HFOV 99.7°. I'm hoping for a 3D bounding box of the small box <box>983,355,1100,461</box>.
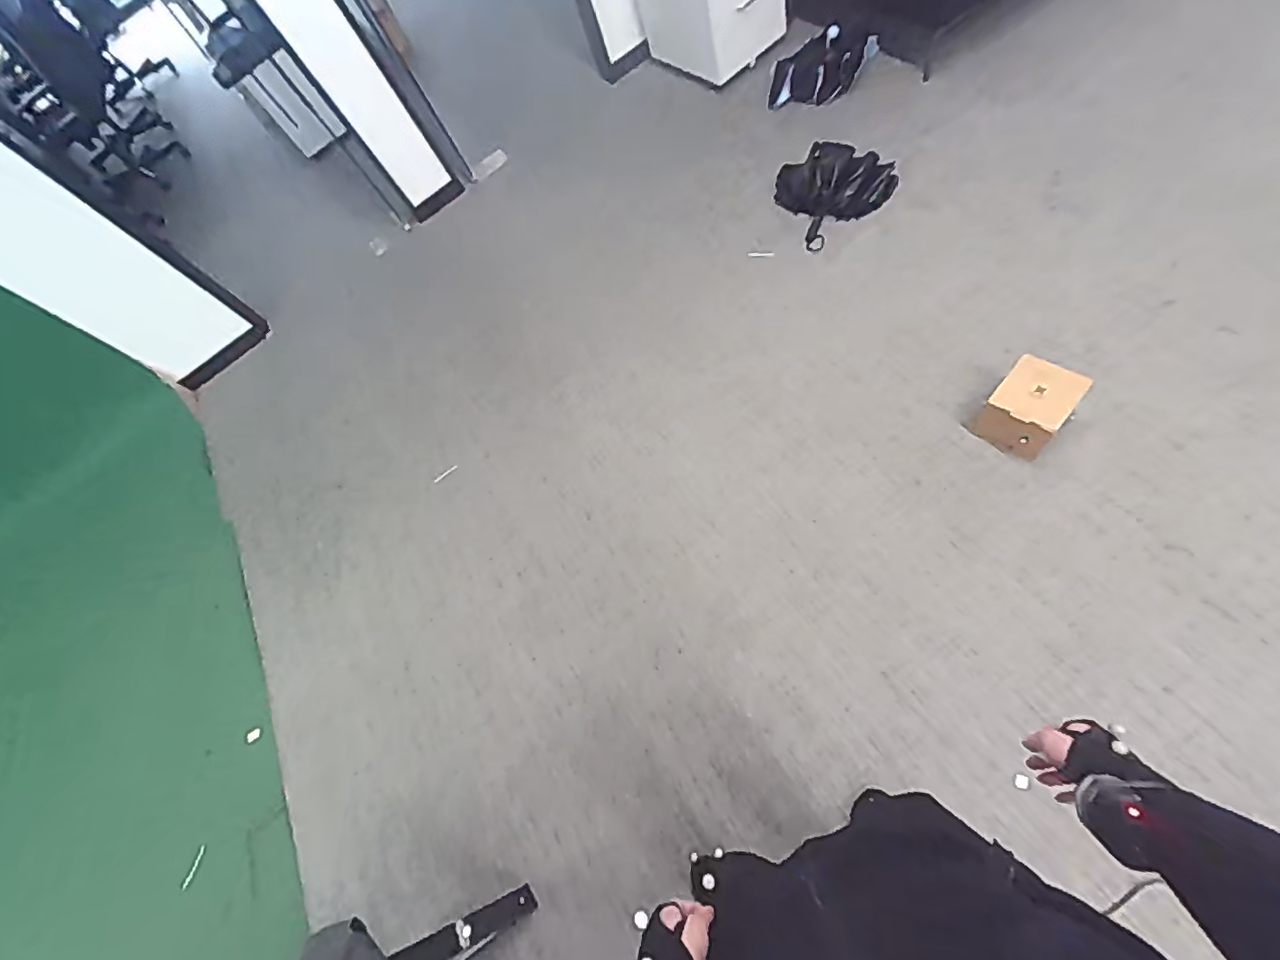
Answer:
[{"bbox_3d":[1.019,-0.179,1.393,0.168,0.176,0.179,36,80,28],"label":"small box"}]
